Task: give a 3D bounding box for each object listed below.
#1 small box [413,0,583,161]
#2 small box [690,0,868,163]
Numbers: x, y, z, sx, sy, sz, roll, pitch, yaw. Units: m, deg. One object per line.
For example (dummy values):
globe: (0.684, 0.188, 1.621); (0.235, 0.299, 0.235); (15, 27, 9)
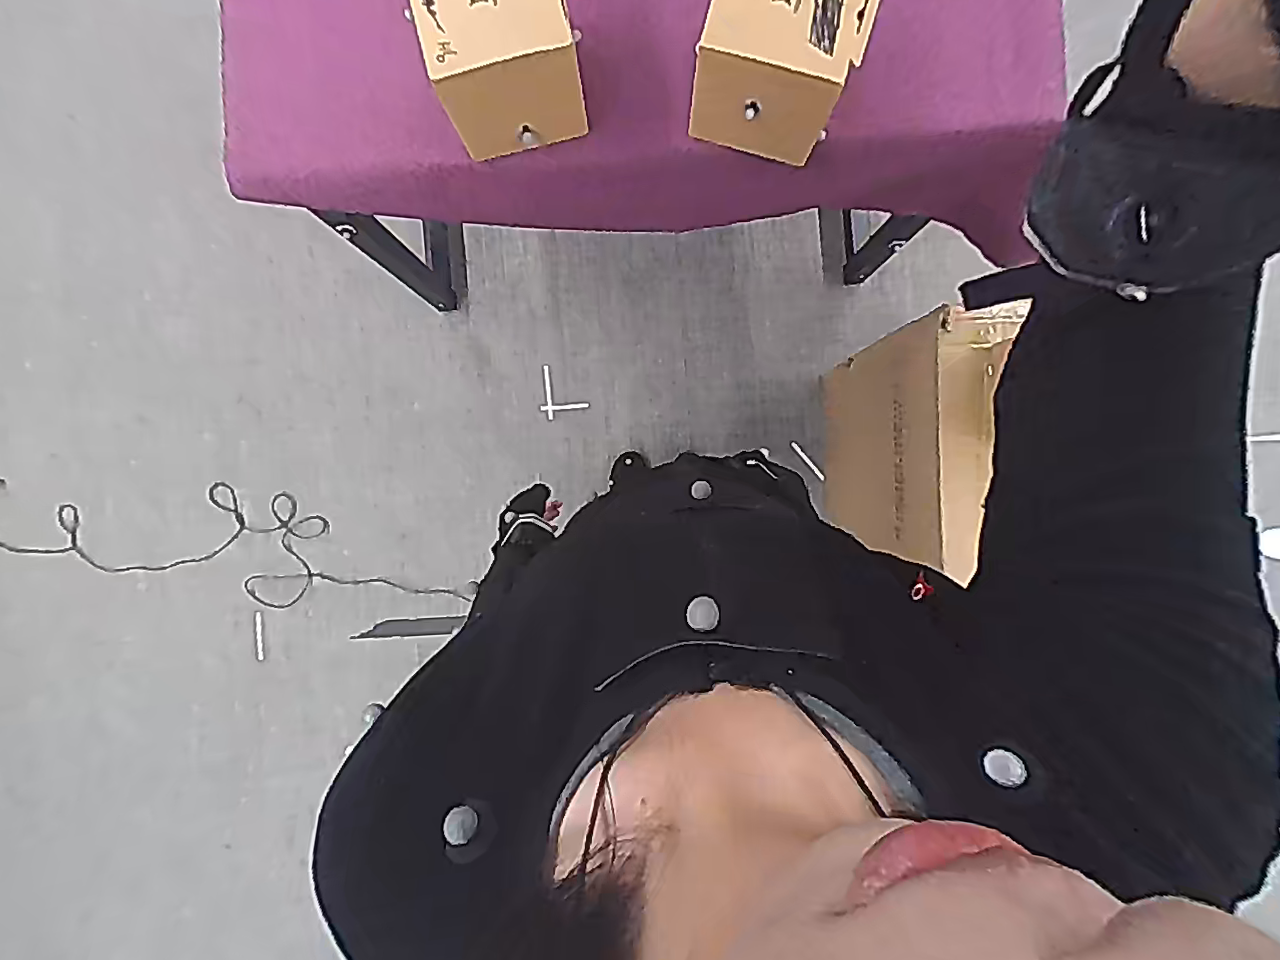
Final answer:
small box: (-0.177, -0.560, 0.710); (0.179, 0.176, 0.168); (-14, 89, 0)
small box: (0.174, -0.552, 0.705); (0.179, 0.176, 0.168); (16, 90, 2)
